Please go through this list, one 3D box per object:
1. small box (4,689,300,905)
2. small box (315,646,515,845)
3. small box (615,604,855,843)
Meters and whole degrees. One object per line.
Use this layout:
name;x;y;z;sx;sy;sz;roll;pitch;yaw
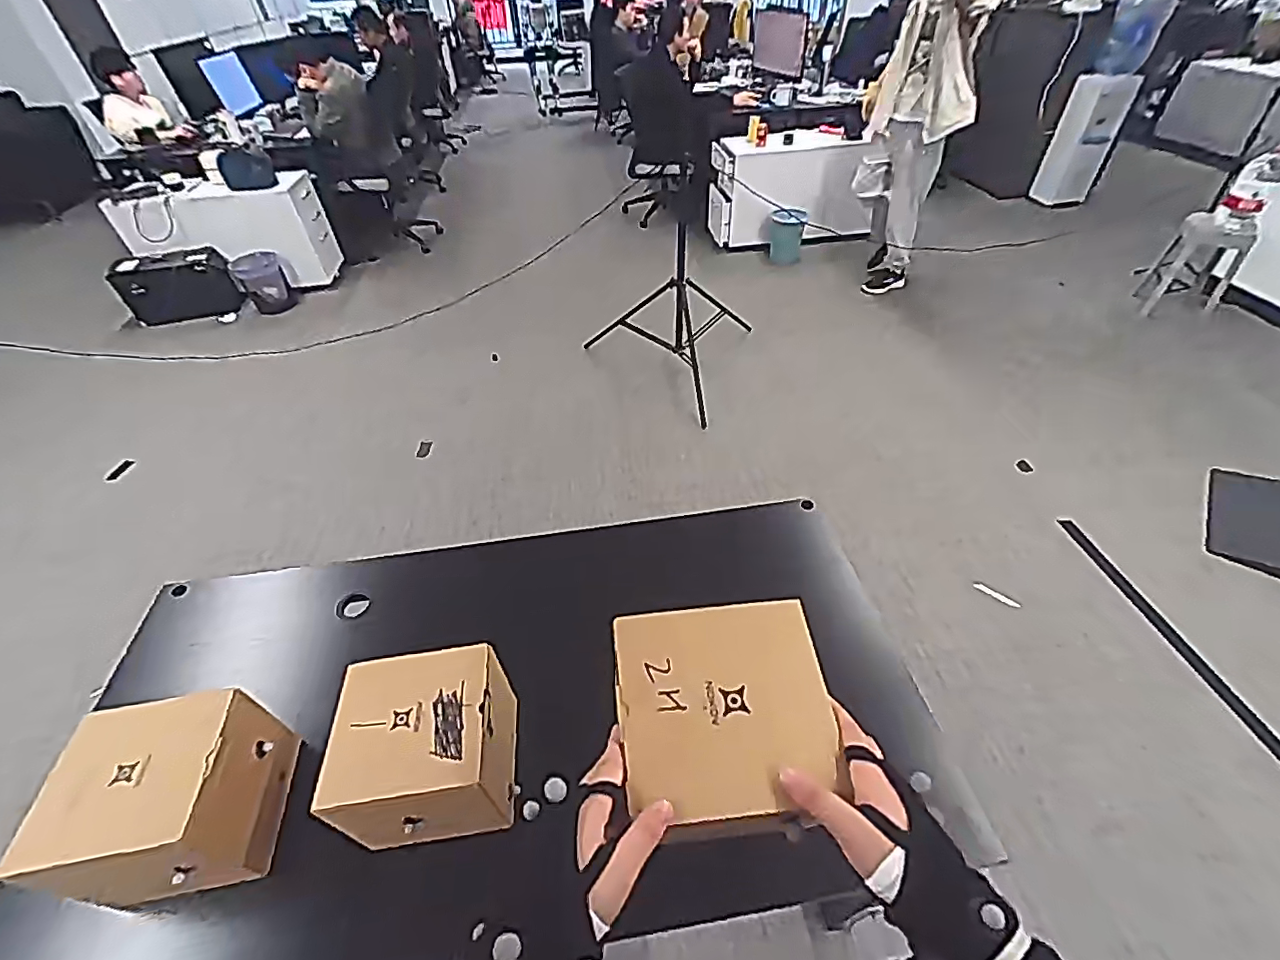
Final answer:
small box;-0.549;0.380;0.649;0.179;0.176;0.168;-10;44;-6
small box;-0.259;0.333;0.677;0.179;0.176;0.168;-8;44;-3
small box;0.071;0.233;0.512;0.179;0.176;0.168;-6;52;-2
